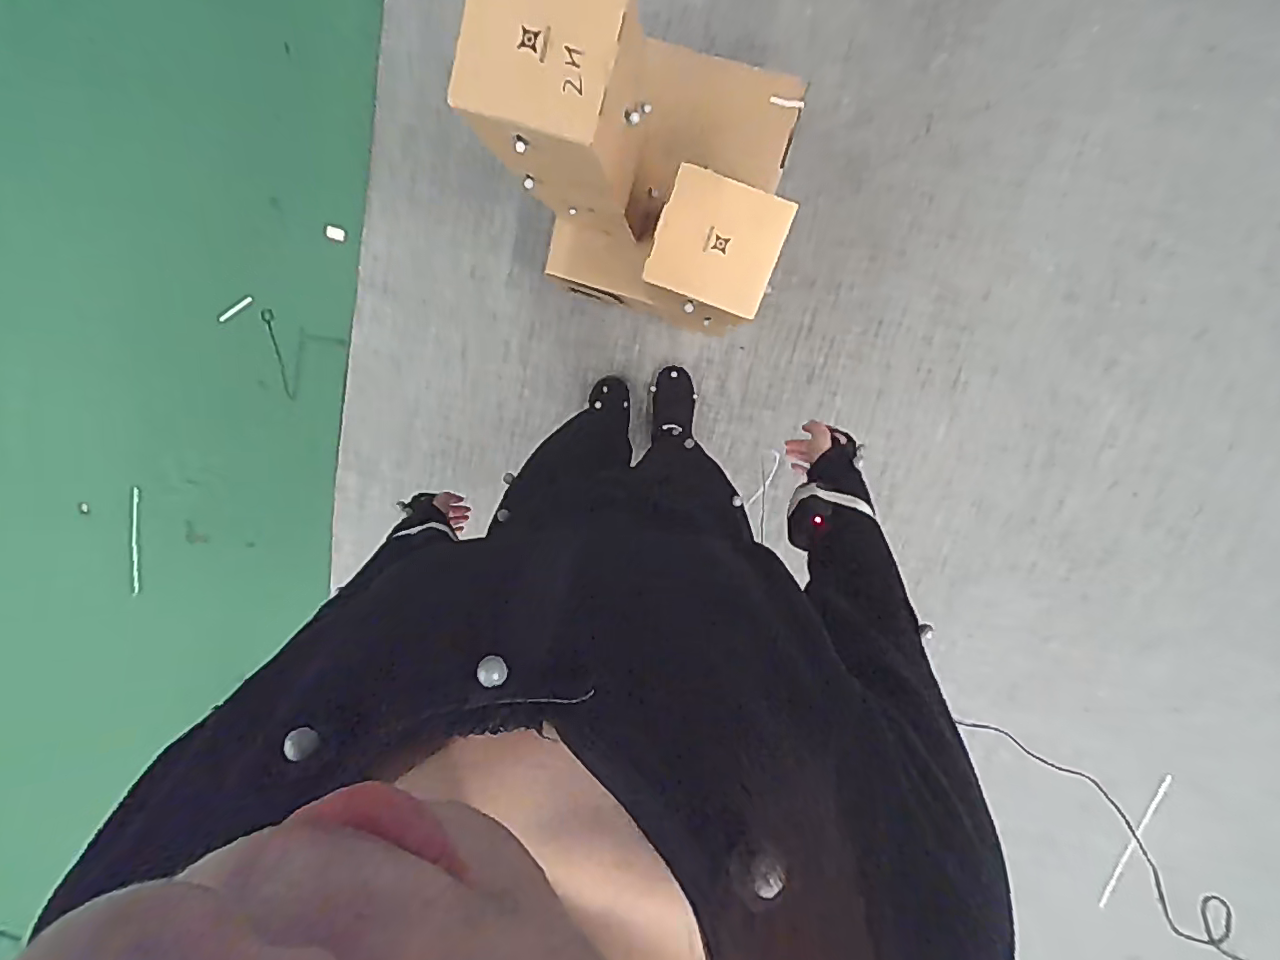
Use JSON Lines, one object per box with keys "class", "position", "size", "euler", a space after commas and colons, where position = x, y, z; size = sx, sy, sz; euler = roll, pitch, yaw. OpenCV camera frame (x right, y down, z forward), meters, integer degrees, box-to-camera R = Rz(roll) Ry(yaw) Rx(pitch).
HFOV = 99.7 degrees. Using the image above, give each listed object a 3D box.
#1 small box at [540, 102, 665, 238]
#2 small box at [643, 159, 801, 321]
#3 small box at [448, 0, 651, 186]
{"class": "small box", "position": [-0.058, -0.564, 0.971], "size": [0.168, 0.176, 0.179], "euler": [20, 102, 2]}
{"class": "small box", "position": [0.119, -0.352, 0.831], "size": [0.179, 0.176, 0.168], "euler": [21, 104, 0]}
{"class": "small box", "position": [-0.097, -0.484, 0.653], "size": [0.179, 0.176, 0.168], "euler": [18, 103, 3]}
